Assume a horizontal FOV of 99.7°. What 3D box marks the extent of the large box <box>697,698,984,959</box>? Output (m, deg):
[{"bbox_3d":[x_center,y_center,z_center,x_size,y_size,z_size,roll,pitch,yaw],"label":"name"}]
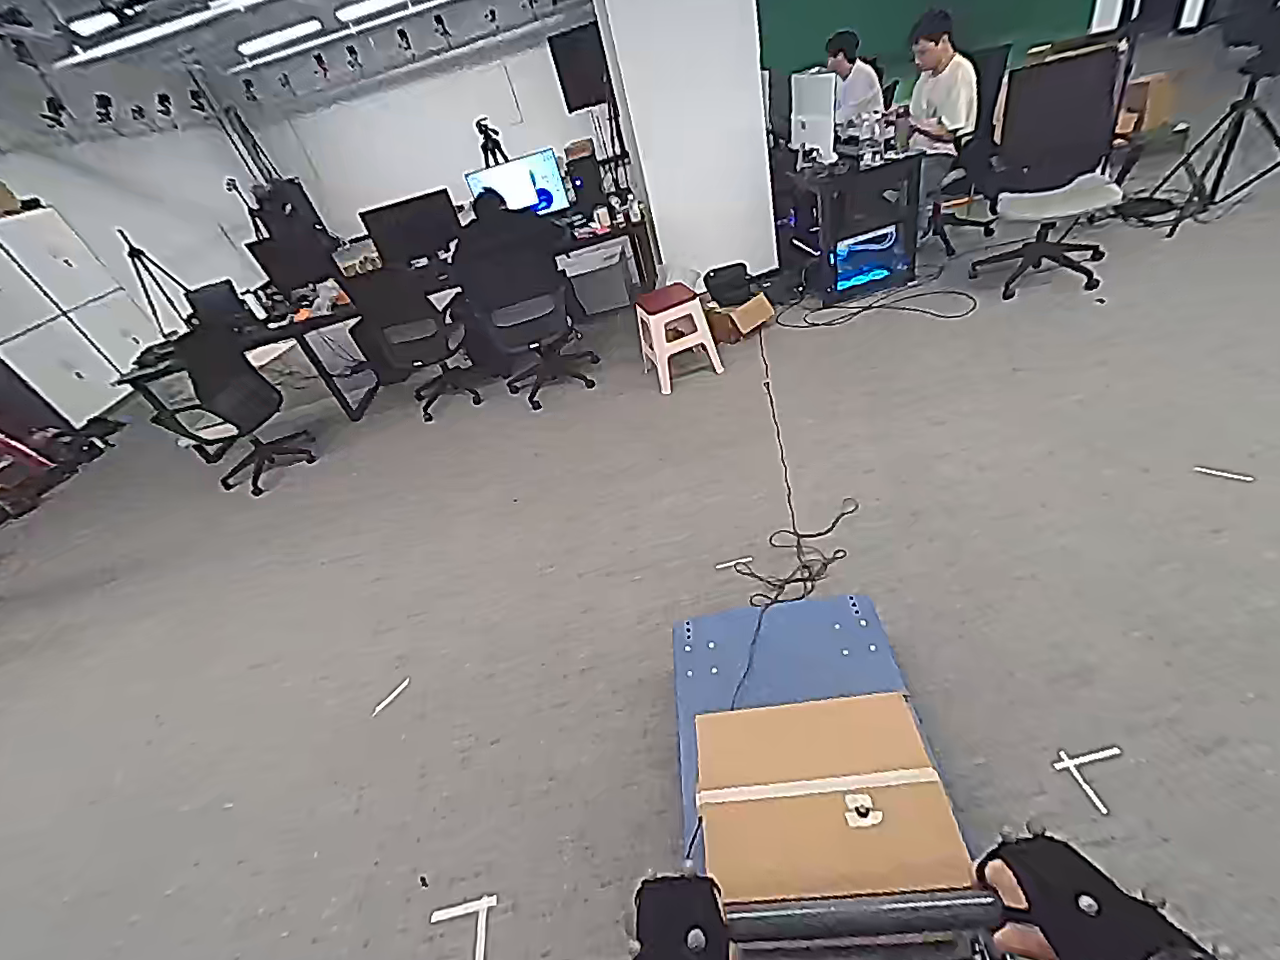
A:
[{"bbox_3d":[0.338,0.654,1.010,0.408,0.320,0.320,-10,38,8],"label":"large box"}]
